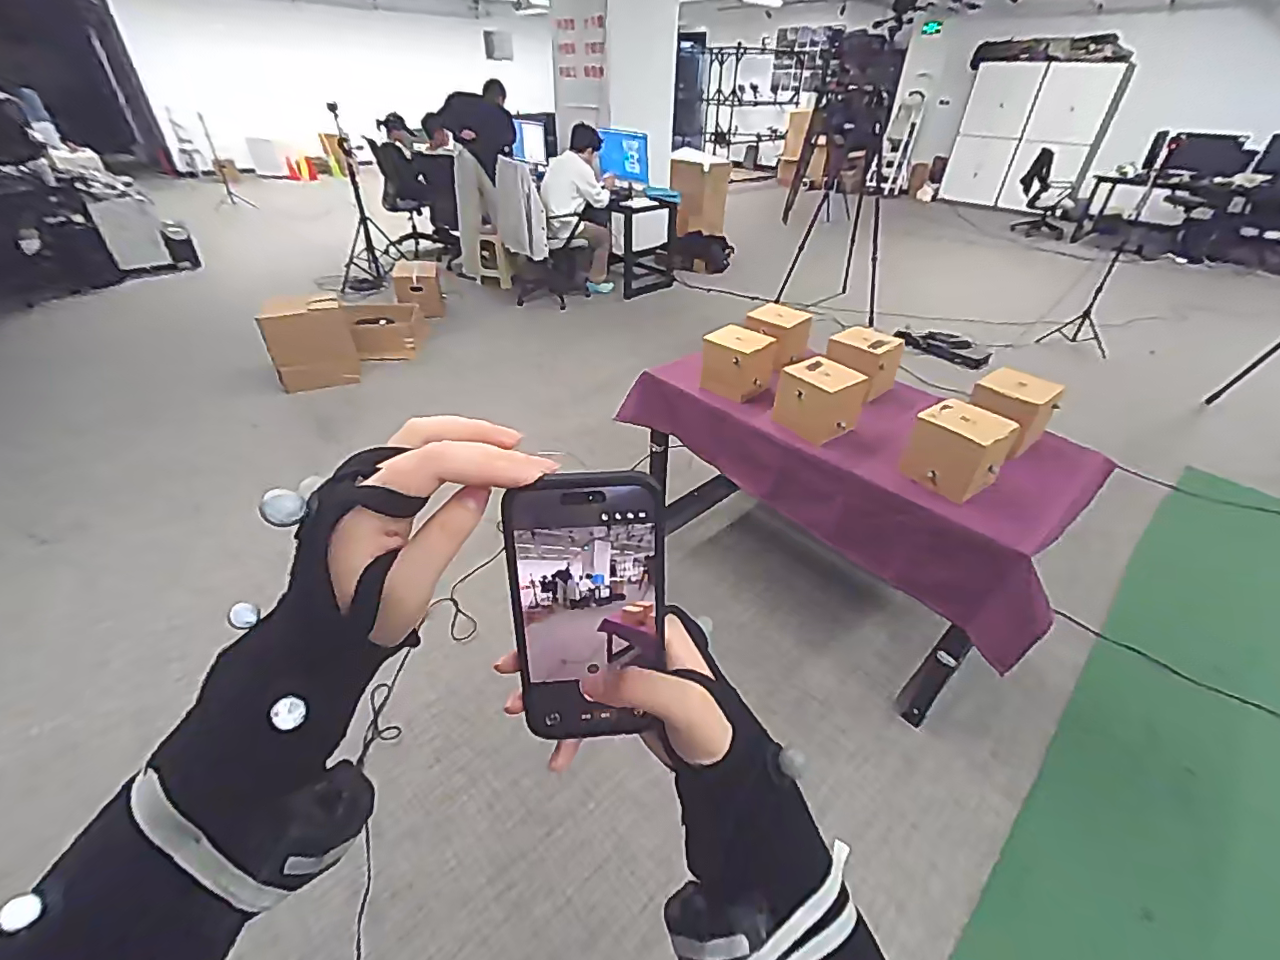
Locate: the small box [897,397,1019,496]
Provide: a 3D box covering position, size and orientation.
[{"bbox_3d":[0.784,-0.079,1.347,0.168,0.176,0.179,-22,43,-29],"label":"small box"}]

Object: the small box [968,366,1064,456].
[{"bbox_3d":[1.026,-0.193,1.511,0.179,0.176,0.168,-25,44,-31],"label":"small box"}]

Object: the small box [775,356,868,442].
[{"bbox_3d":[0.509,-0.233,1.544,0.168,0.176,0.179,-23,44,-29],"label":"small box"}]

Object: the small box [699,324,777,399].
[{"bbox_3d":[0.308,-0.380,1.735,0.179,0.176,0.168,30,44,31],"label":"small box"}]
